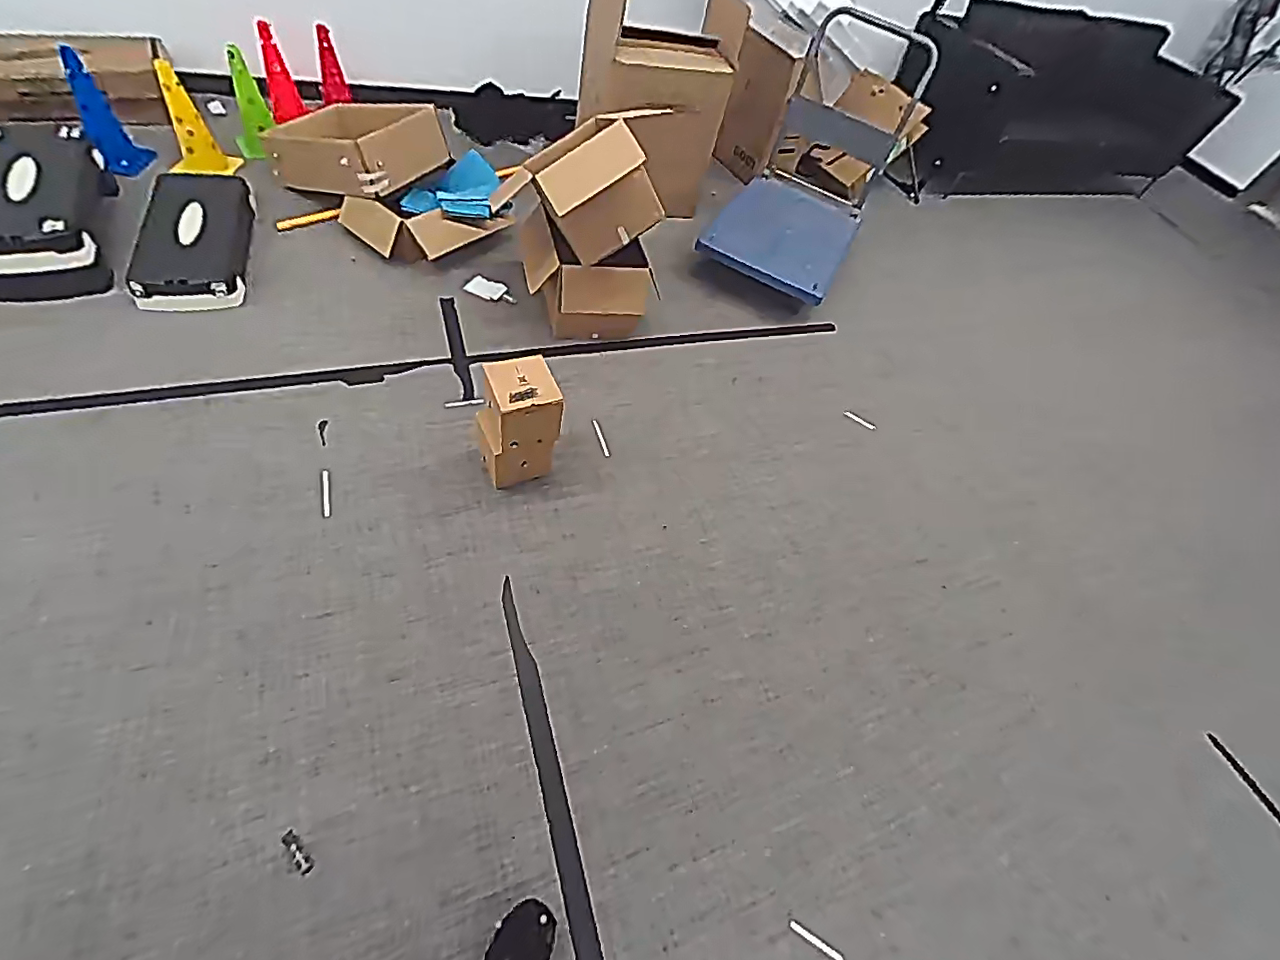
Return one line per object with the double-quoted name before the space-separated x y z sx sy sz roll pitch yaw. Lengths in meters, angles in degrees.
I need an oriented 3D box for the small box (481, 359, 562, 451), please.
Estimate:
"small box" -0.320 -0.195 1.457 0.168 0.176 0.179 -15 59 -23
